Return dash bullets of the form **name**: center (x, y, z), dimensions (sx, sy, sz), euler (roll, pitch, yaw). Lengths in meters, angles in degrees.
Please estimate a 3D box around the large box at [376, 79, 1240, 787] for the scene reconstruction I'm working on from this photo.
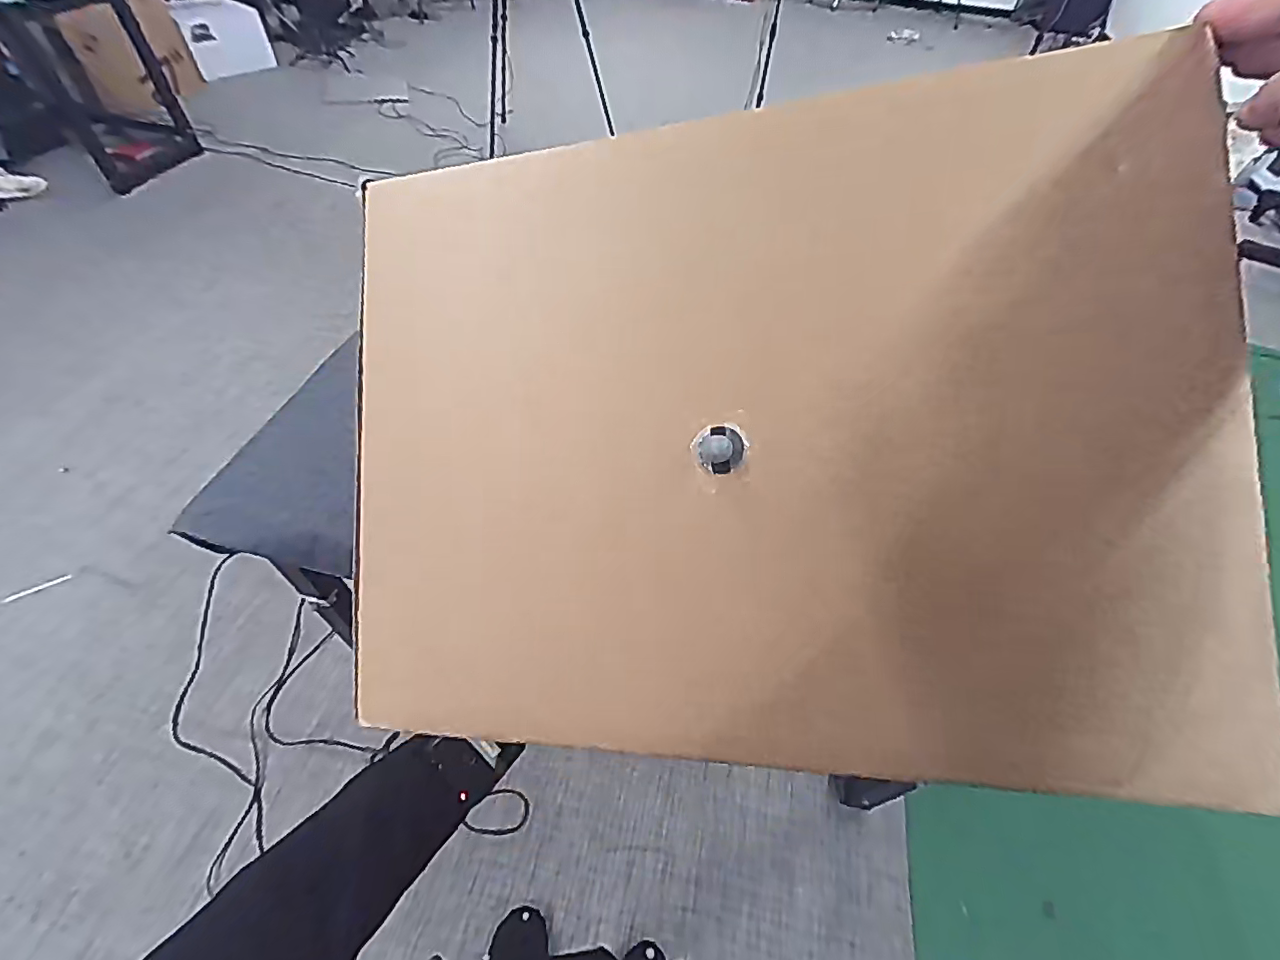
- **large box**: center (0.078, -0.007, 0.411), dimensions (0.408, 0.320, 0.320), euler (-3, 86, 13)
